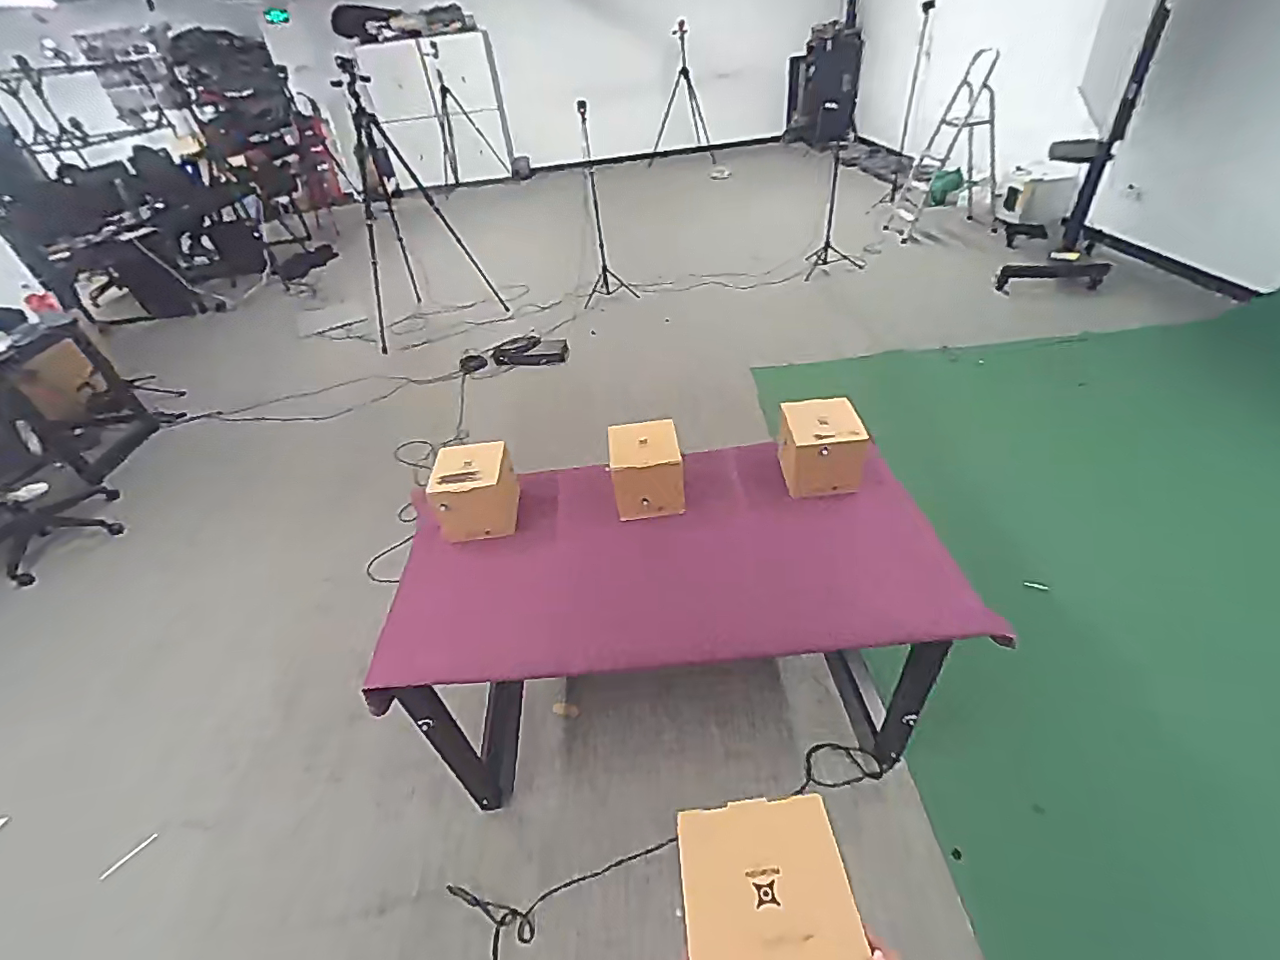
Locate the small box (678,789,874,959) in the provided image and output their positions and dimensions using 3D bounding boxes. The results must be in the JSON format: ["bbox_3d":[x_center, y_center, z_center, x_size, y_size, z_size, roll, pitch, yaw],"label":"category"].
[{"bbox_3d":[0.136,0.467,0.570,0.168,0.176,0.179,-10,30,4],"label":"small box"}]

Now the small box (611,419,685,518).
[{"bbox_3d":[0.018,-0.029,1.338,0.168,0.176,0.179,-6,41,0],"label":"small box"}]

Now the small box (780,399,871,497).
[{"bbox_3d":[0.445,-0.079,1.330,0.168,0.176,0.179,-6,40,4],"label":"small box"}]
